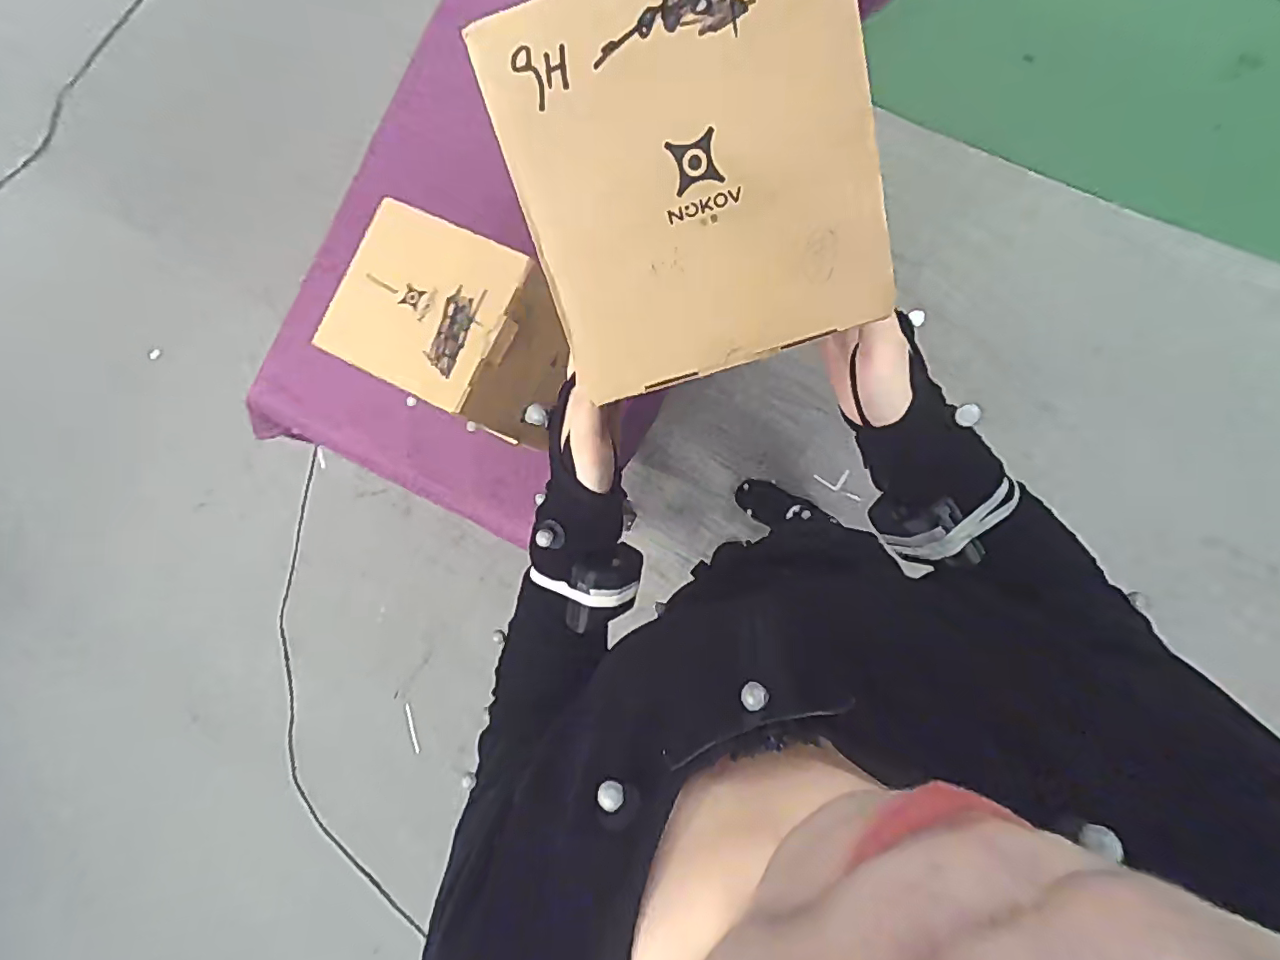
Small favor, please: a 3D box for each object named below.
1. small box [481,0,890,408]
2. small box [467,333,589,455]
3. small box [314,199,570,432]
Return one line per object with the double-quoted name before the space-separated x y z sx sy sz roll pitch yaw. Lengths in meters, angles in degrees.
"small box" 0.030 -0.166 0.332 0.168 0.176 0.179 -15 111 5
"small box" -0.175 -0.149 0.761 0.168 0.176 0.179 26 89 10
"small box" -0.200 -0.164 0.599 0.179 0.176 0.168 26 89 11
